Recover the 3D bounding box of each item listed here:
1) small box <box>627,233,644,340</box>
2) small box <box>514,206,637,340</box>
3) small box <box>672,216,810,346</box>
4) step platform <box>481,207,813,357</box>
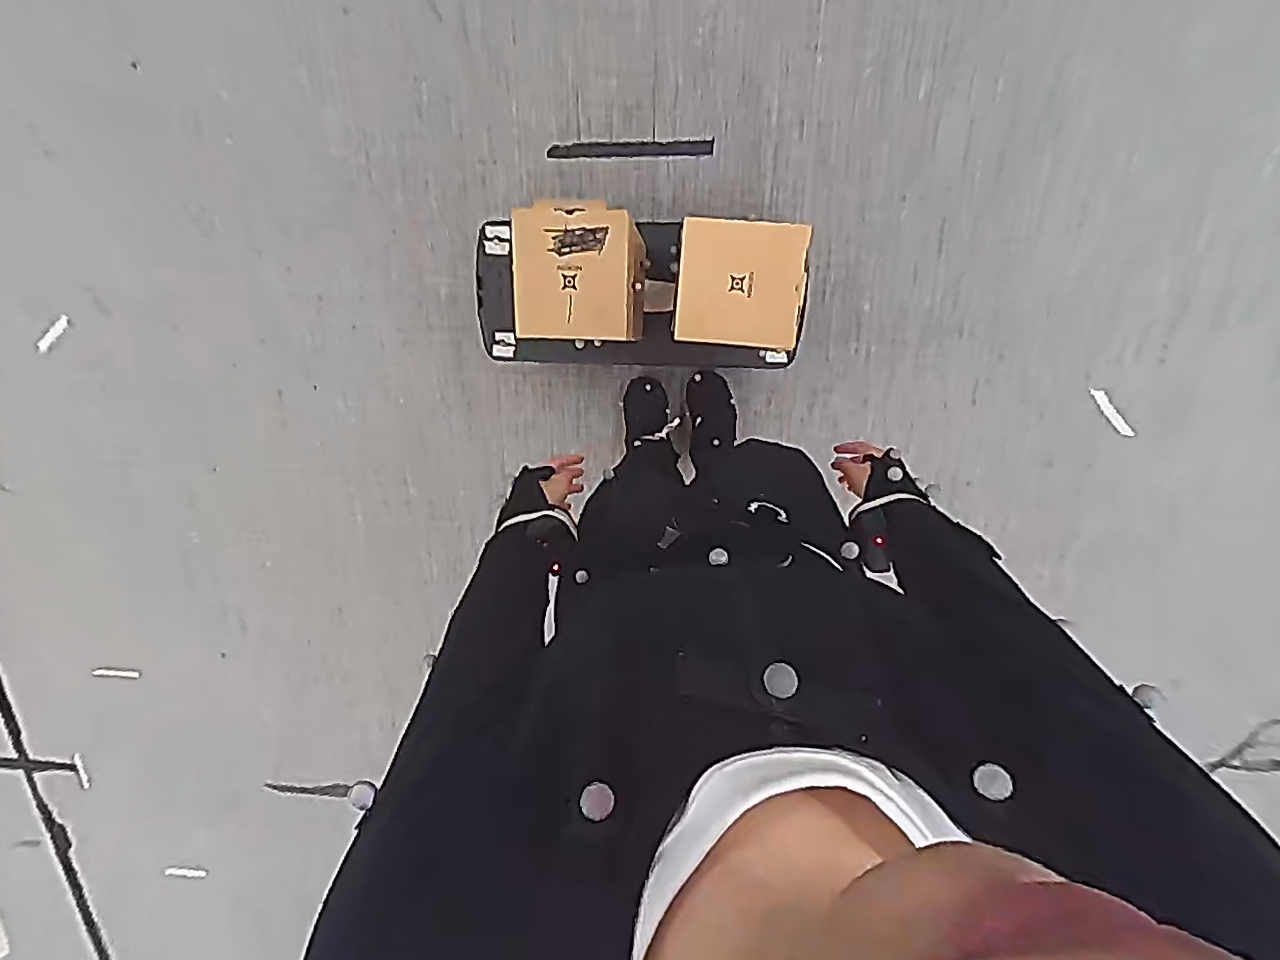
[{"bbox_3d":[-0.081,-0.354,1.003,0.168,0.176,0.179,4,106,3],"label":"small box"},{"bbox_3d":[-0.094,-0.313,0.844,0.168,0.176,0.179,3,106,3],"label":"small box"},{"bbox_3d":[0.144,-0.298,0.834,0.179,0.176,0.168,4,106,2],"label":"small box"},{"bbox_3d":[0.014,-0.415,1.160,0.684,0.204,0.286,2,106,4],"label":"step platform"}]
